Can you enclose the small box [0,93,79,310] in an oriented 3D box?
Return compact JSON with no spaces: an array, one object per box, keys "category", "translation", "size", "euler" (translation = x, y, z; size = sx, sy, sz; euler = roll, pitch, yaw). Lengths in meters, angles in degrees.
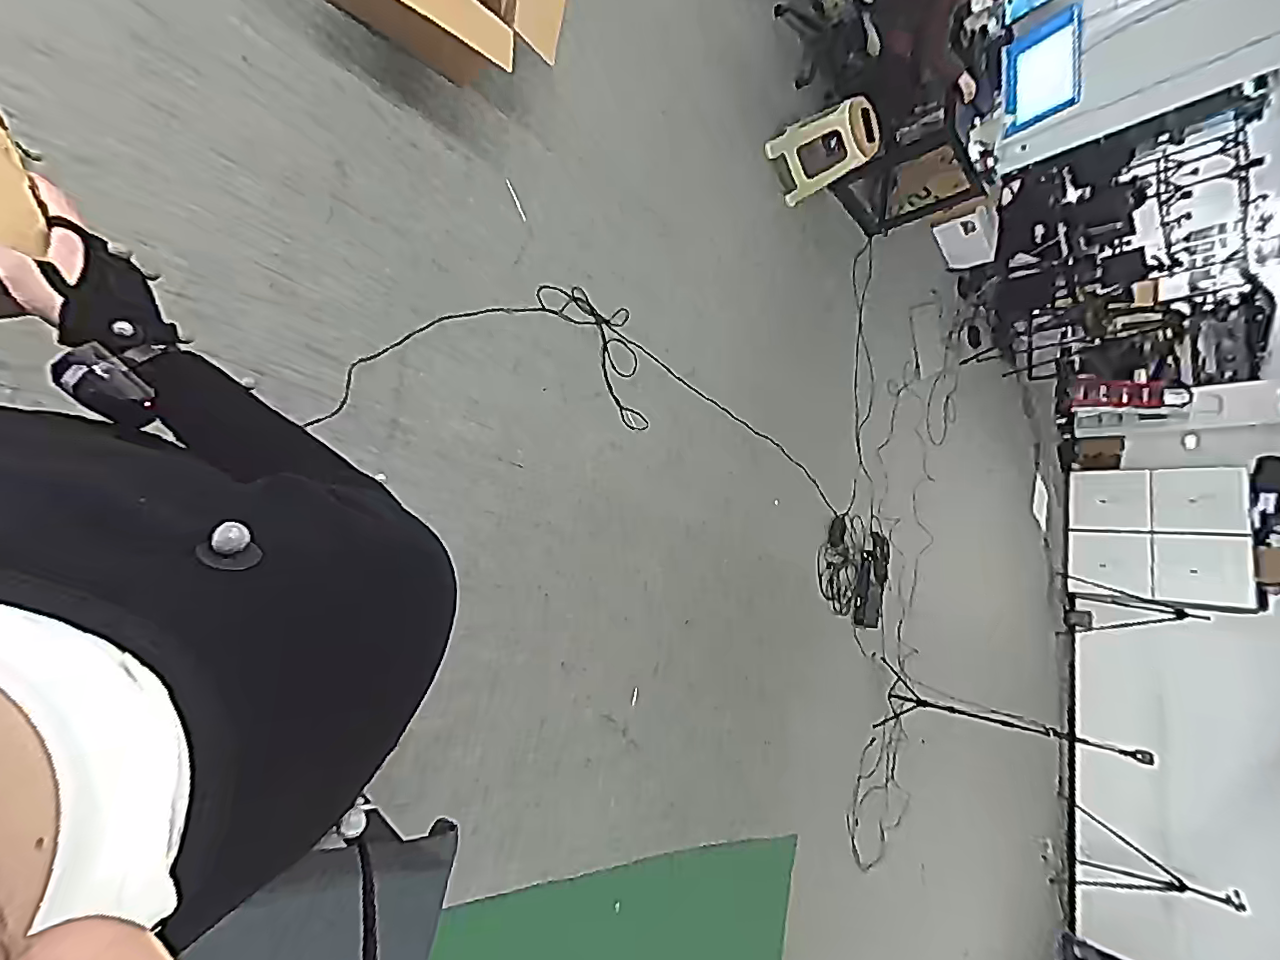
[{"category":"small box","translation":[-0.612,-0.241,0.443],"size":[0.179,0.176,0.168],"euler":[-23,103,-36]}]
